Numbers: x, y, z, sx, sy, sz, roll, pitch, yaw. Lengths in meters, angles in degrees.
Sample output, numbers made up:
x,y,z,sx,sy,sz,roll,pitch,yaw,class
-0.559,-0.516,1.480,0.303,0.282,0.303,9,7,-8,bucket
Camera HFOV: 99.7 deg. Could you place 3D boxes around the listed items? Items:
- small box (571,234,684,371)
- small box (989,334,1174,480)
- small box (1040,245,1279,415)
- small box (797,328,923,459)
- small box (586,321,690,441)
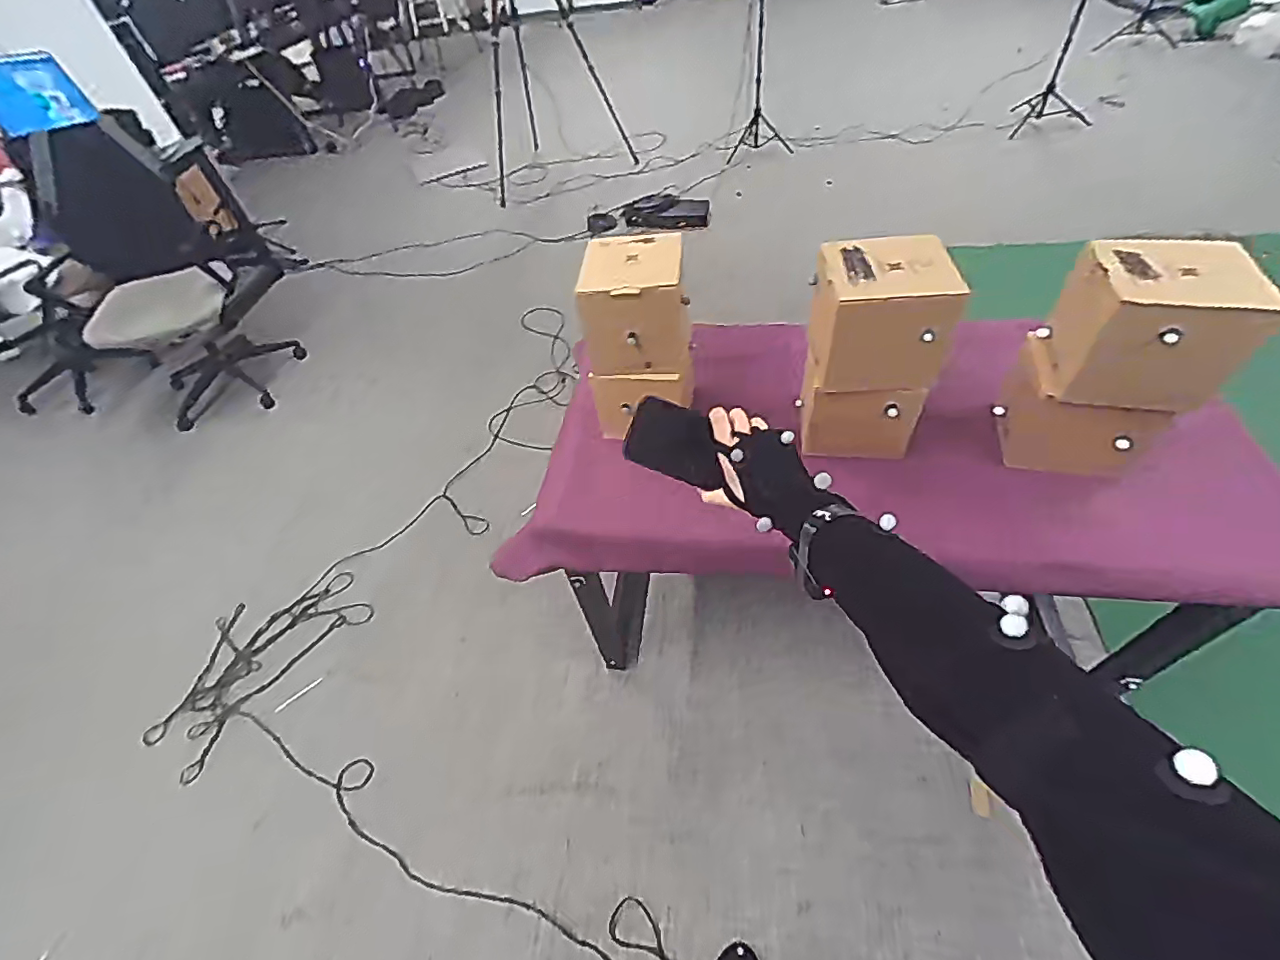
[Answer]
x,y,z,sx,sy,sz,roll,pitch,yaw,class
-0.011,-0.305,0.948,0.168,0.176,0.179,1,51,8,small box
0.715,-0.119,0.900,0.179,0.176,0.168,9,52,16,small box
0.702,-0.211,0.764,0.179,0.176,0.168,9,52,15,small box
0.385,-0.153,0.976,0.179,0.176,0.168,4,51,12,small box
0.007,-0.193,1.068,0.168,0.176,0.179,4,51,12,small box
